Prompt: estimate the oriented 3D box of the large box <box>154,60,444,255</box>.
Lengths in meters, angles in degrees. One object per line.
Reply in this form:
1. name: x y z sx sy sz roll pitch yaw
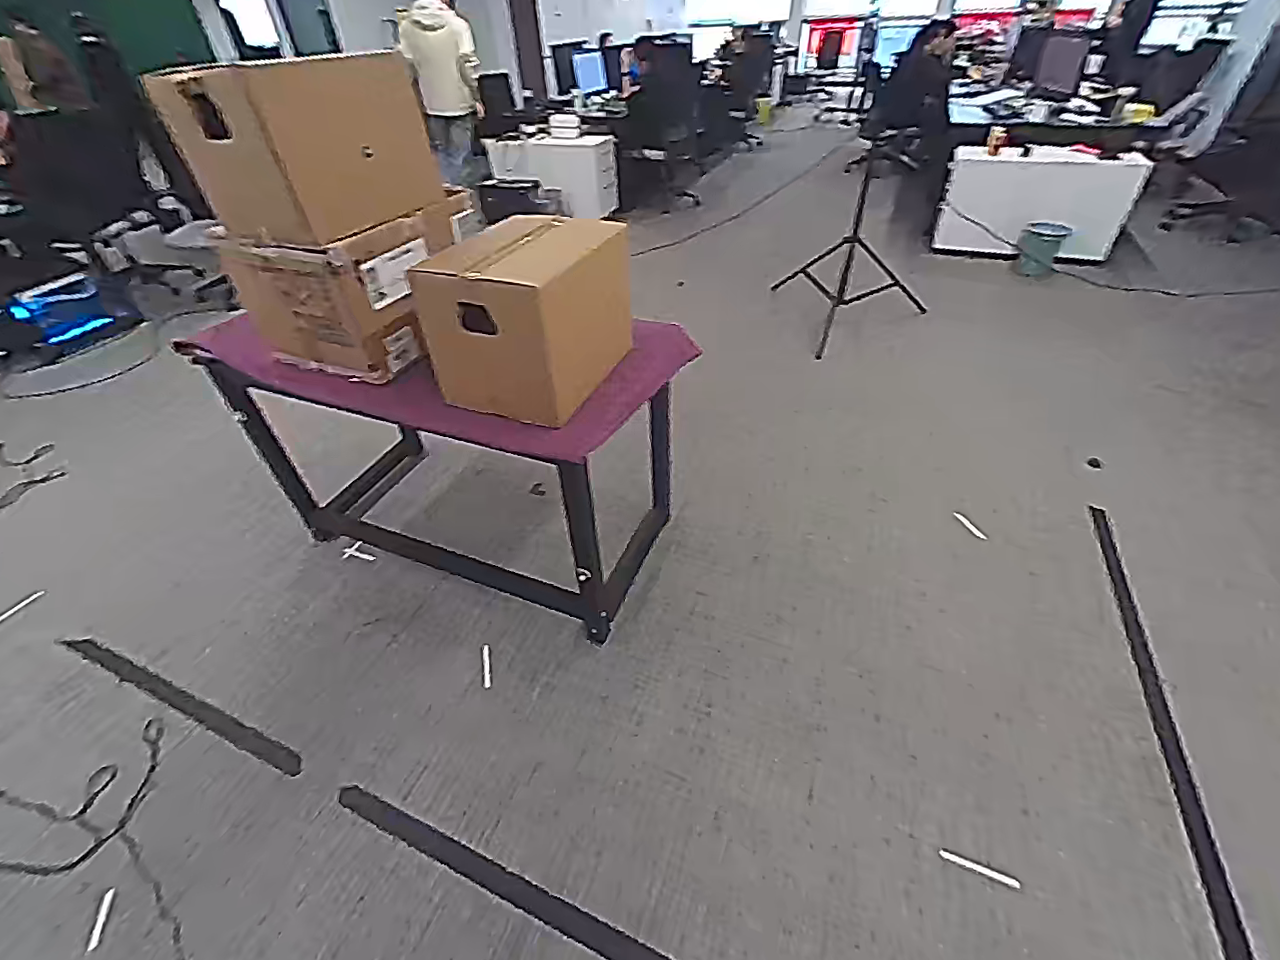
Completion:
1. large box: -0.734 -0.744 1.241 0.320 0.320 0.408 12 43 23
